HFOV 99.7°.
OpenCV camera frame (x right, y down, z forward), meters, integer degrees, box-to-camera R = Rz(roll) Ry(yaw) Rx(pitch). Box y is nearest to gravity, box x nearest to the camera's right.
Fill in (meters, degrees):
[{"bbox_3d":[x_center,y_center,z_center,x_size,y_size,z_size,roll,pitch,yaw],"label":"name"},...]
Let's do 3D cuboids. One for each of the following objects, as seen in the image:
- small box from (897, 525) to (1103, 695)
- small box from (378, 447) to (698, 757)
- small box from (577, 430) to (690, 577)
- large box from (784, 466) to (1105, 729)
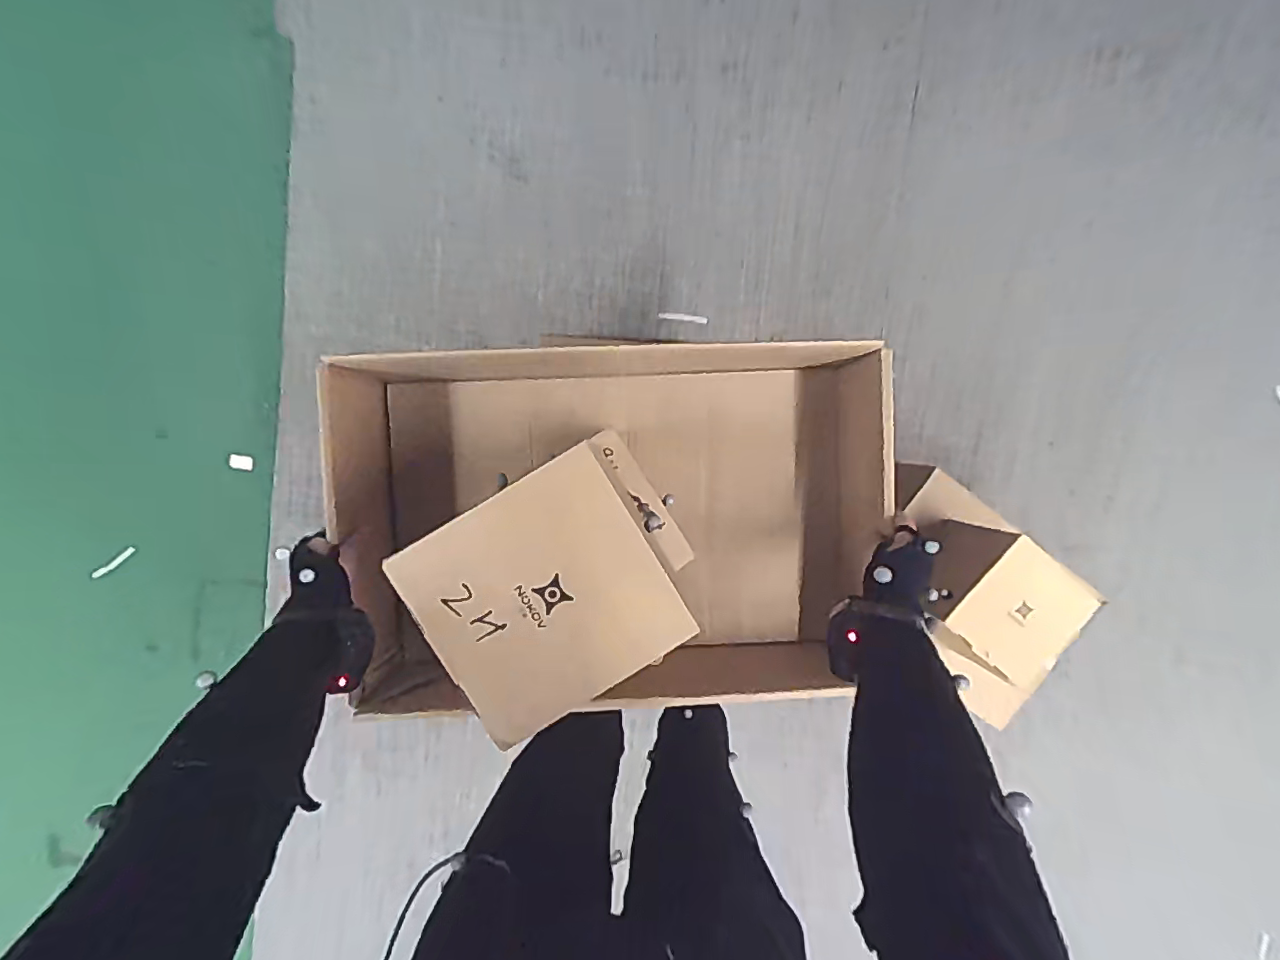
[{"bbox_3d":[0.553,0.192,0.858,0.168,0.176,0.179,40,92,-4],"label":"small box"},{"bbox_3d":[-0.074,0.083,0.463,0.179,0.176,0.168,-31,92,0],"label":"small box"},{"bbox_3d":[-0.062,0.058,0.628,0.179,0.176,0.168,-33,94,0],"label":"small box"},{"bbox_3d":[0.578,0.207,1.104,0.408,0.320,0.320,36,93,-5],"label":"large box"}]
